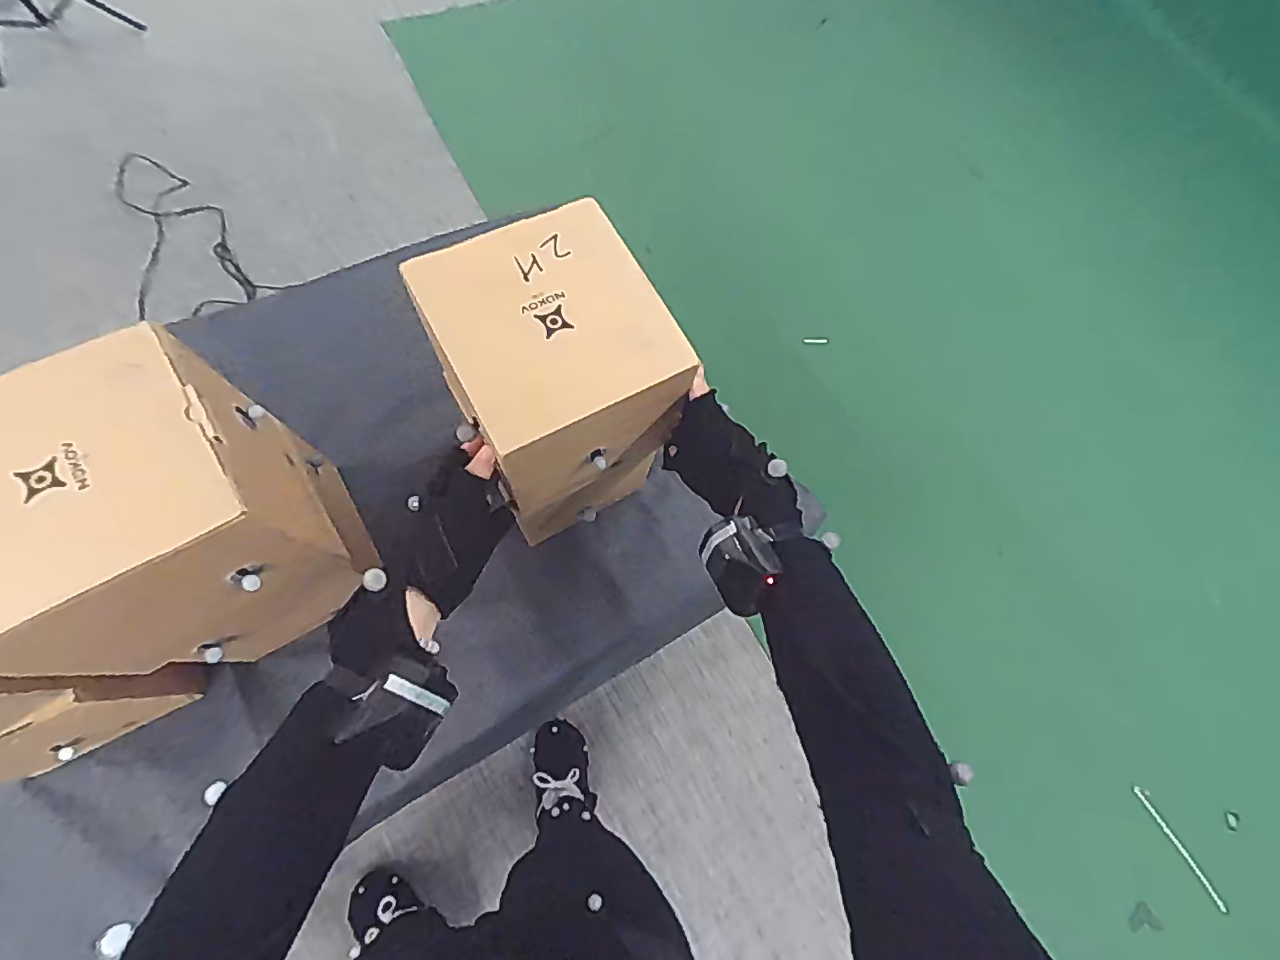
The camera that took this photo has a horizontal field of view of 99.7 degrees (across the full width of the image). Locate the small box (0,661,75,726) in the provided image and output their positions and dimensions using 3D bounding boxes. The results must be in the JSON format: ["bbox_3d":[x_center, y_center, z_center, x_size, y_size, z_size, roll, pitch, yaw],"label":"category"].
[{"bbox_3d":[-0.556,0.119,0.353,0.179,0.176,0.168,-34,80,-15],"label":"small box"}]

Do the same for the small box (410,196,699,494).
[{"bbox_3d":[-0.072,-0.103,0.484,0.168,0.176,0.179,-27,77,-15],"label":"small box"}]

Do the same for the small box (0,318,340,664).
[{"bbox_3d":[-0.361,0.019,0.409,0.179,0.176,0.168,-31,77,-15],"label":"small box"}]
